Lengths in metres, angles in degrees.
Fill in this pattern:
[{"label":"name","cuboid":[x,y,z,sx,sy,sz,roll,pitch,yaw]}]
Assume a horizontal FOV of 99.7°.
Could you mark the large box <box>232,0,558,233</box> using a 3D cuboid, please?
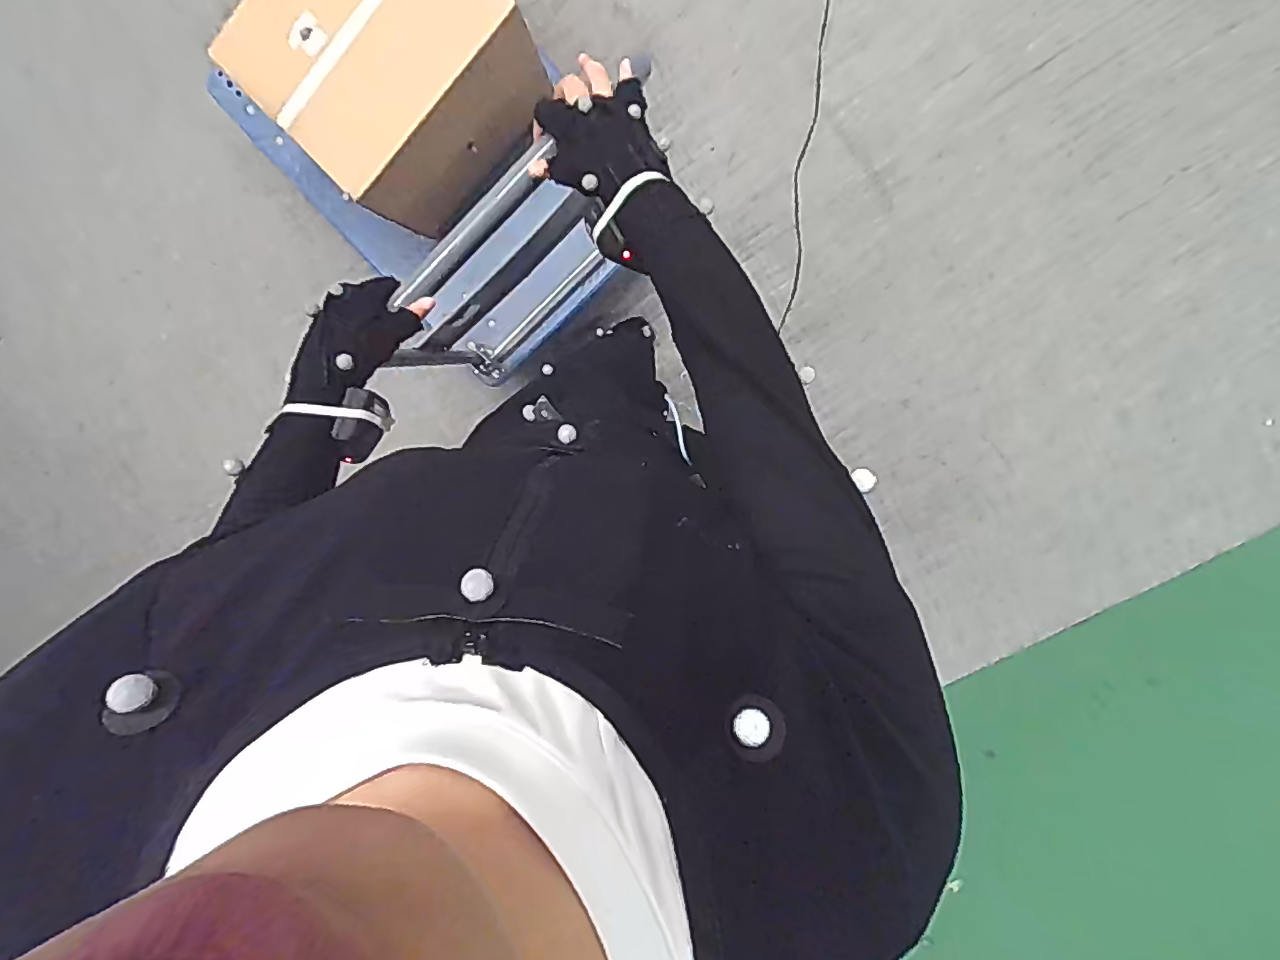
[{"label":"large box","cuboid":[-0.417,-0.750,1.007,0.408,0.320,0.320,-43,97,12]}]
